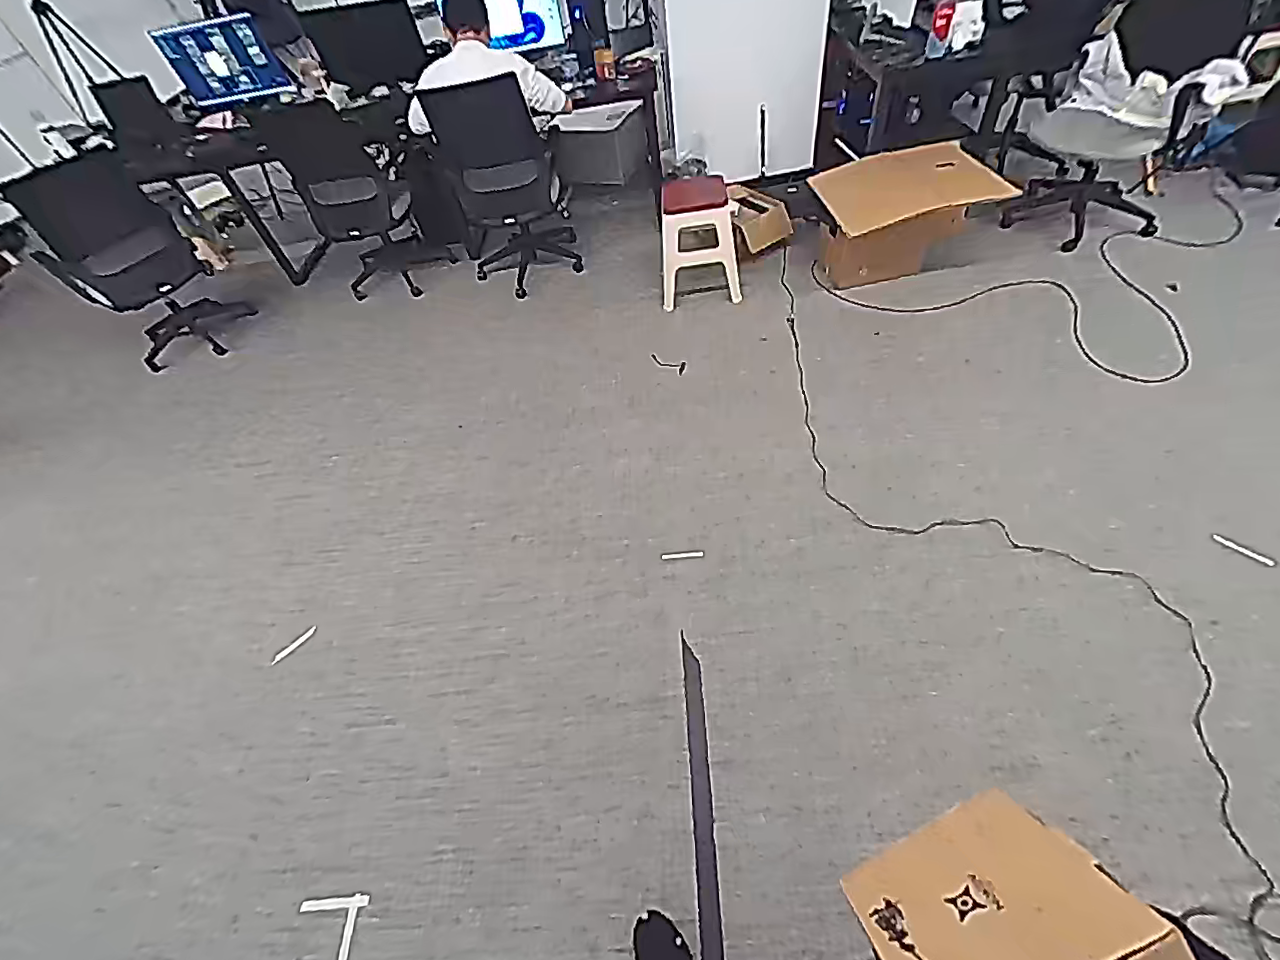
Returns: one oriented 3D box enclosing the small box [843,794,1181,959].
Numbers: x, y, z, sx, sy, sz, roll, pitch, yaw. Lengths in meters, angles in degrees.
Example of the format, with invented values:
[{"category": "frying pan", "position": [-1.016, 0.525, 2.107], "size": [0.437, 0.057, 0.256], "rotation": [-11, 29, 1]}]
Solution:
[{"category": "small box", "position": [0.305, 0.409, 0.433], "size": [0.179, 0.168, 0.176], "rotation": [-28, 90, -3]}]
